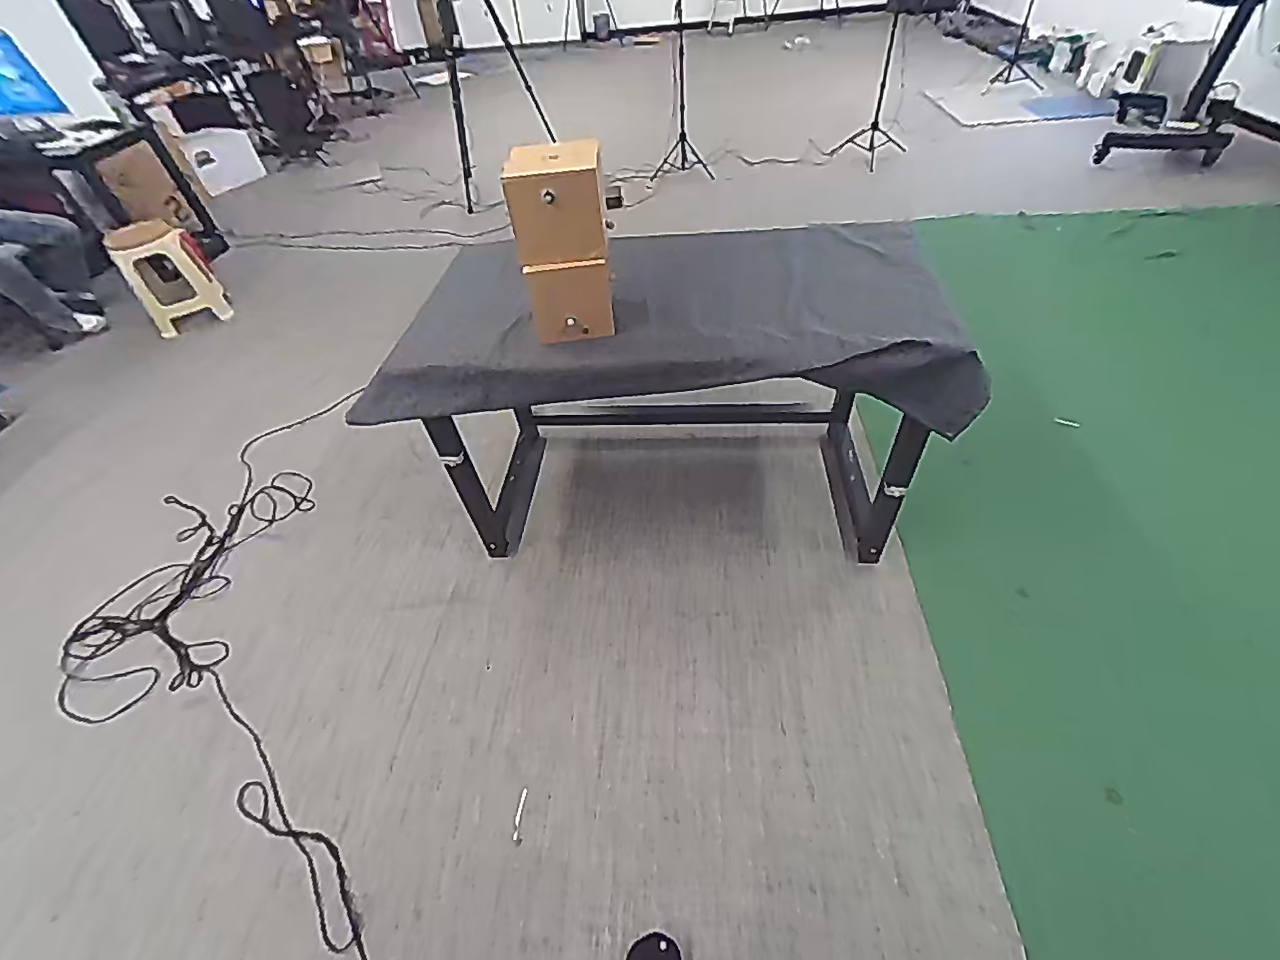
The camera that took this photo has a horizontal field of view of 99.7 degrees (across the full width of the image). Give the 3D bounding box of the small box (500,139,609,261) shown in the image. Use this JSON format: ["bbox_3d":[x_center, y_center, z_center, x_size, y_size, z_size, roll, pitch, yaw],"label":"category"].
[{"bbox_3d":[-0.158,-0.543,1.060,0.179,0.176,0.168,-4,48,1],"label":"small box"}]

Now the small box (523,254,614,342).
[{"bbox_3d":[-0.150,-0.422,1.168,0.168,0.176,0.179,-7,47,0],"label":"small box"}]
